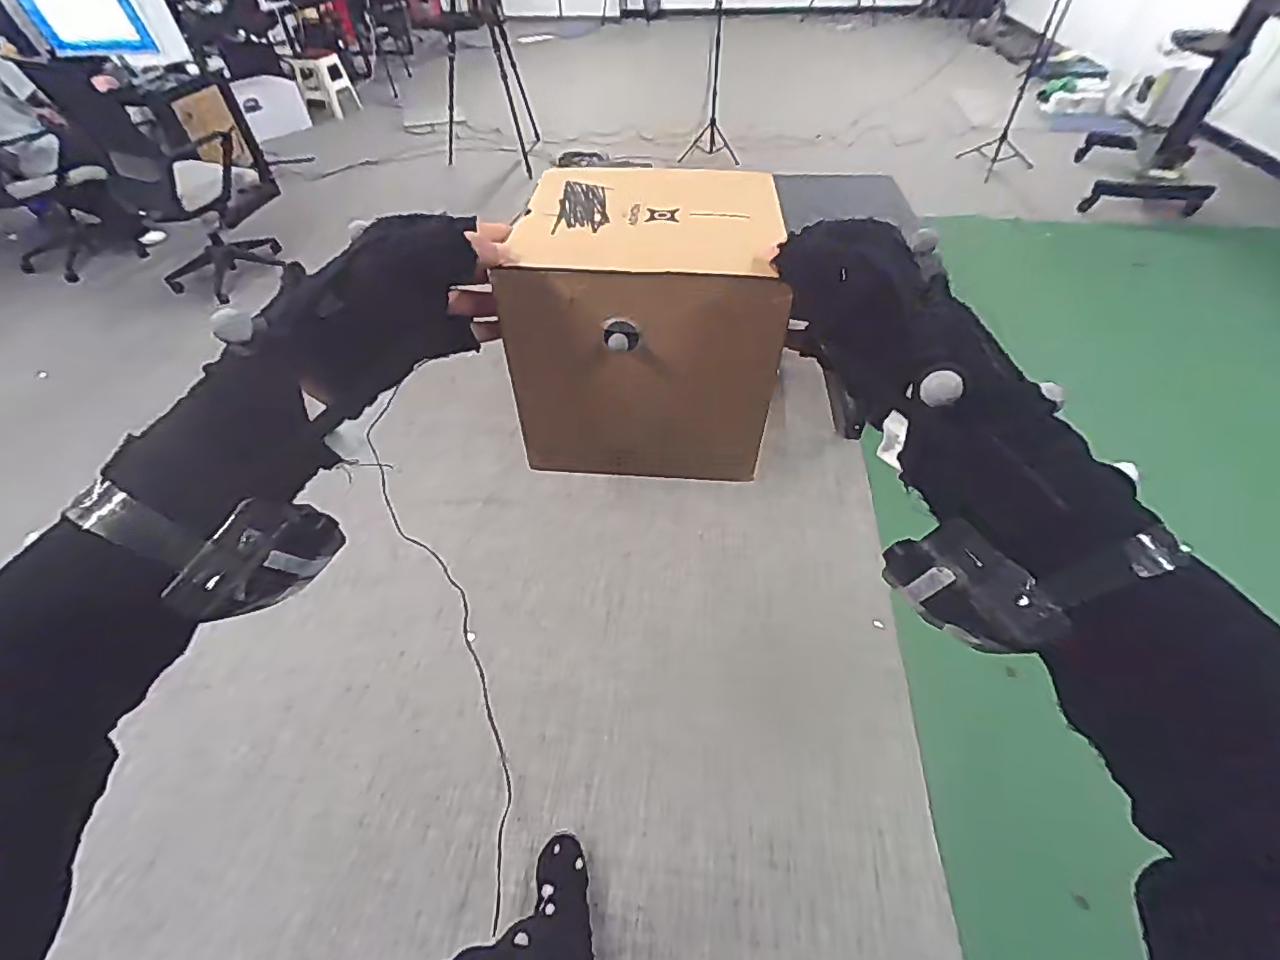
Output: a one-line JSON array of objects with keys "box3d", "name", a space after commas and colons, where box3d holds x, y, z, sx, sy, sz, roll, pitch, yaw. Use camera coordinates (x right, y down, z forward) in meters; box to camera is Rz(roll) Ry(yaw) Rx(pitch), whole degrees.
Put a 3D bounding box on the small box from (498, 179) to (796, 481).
[{"box3d": [0.010, -0.114, 0.420, 0.179, 0.176, 0.168, 4, 47, 3], "name": "small box"}]
